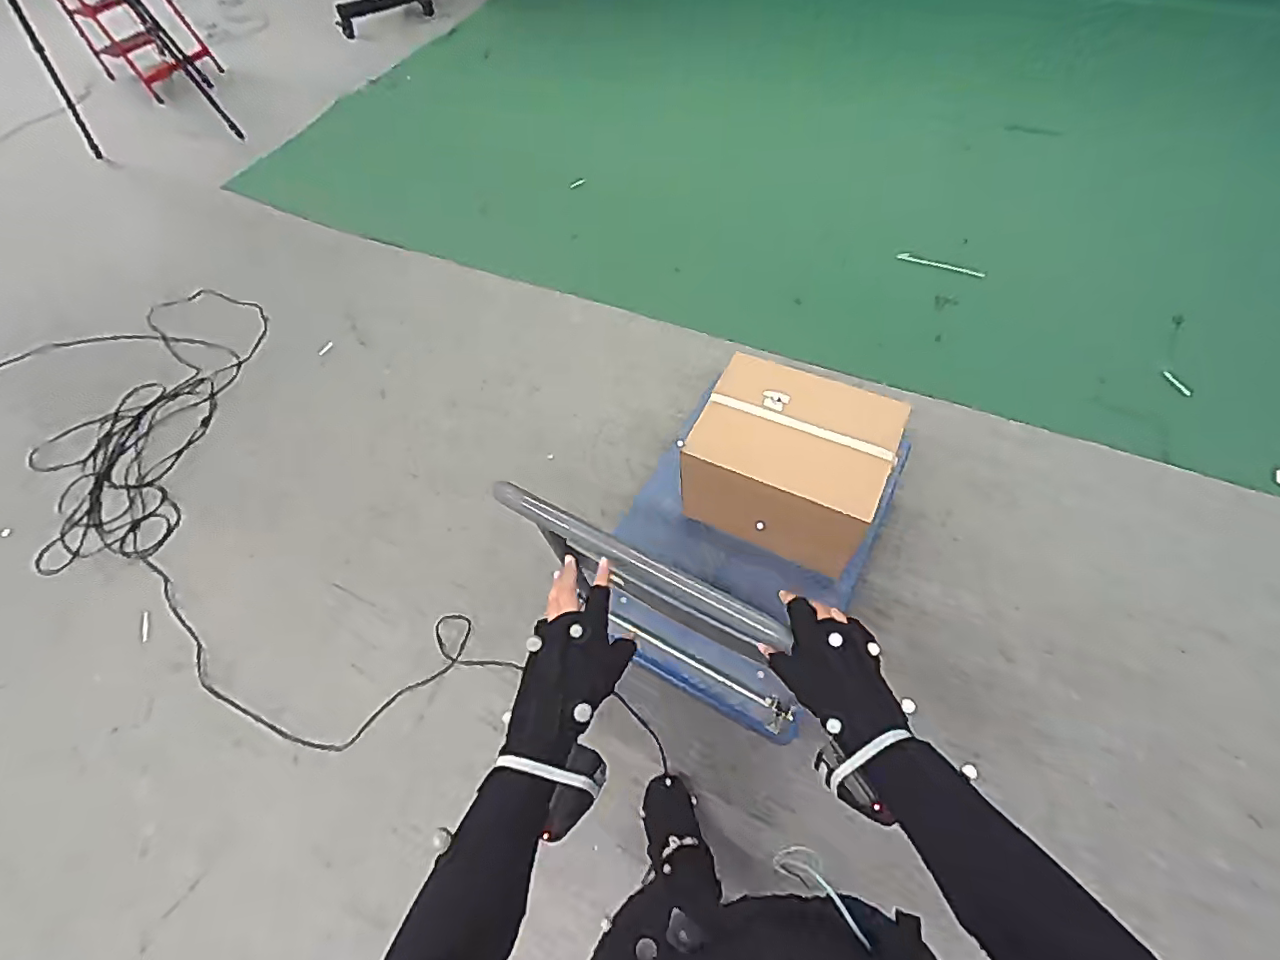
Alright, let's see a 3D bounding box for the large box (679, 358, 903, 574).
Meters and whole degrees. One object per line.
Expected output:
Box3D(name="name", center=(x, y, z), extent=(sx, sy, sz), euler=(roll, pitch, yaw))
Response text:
Box3D(name="large box", center=(0.342, -0.030, 1.285), extent=(0.408, 0.320, 0.320), euler=(21, 63, 18))
